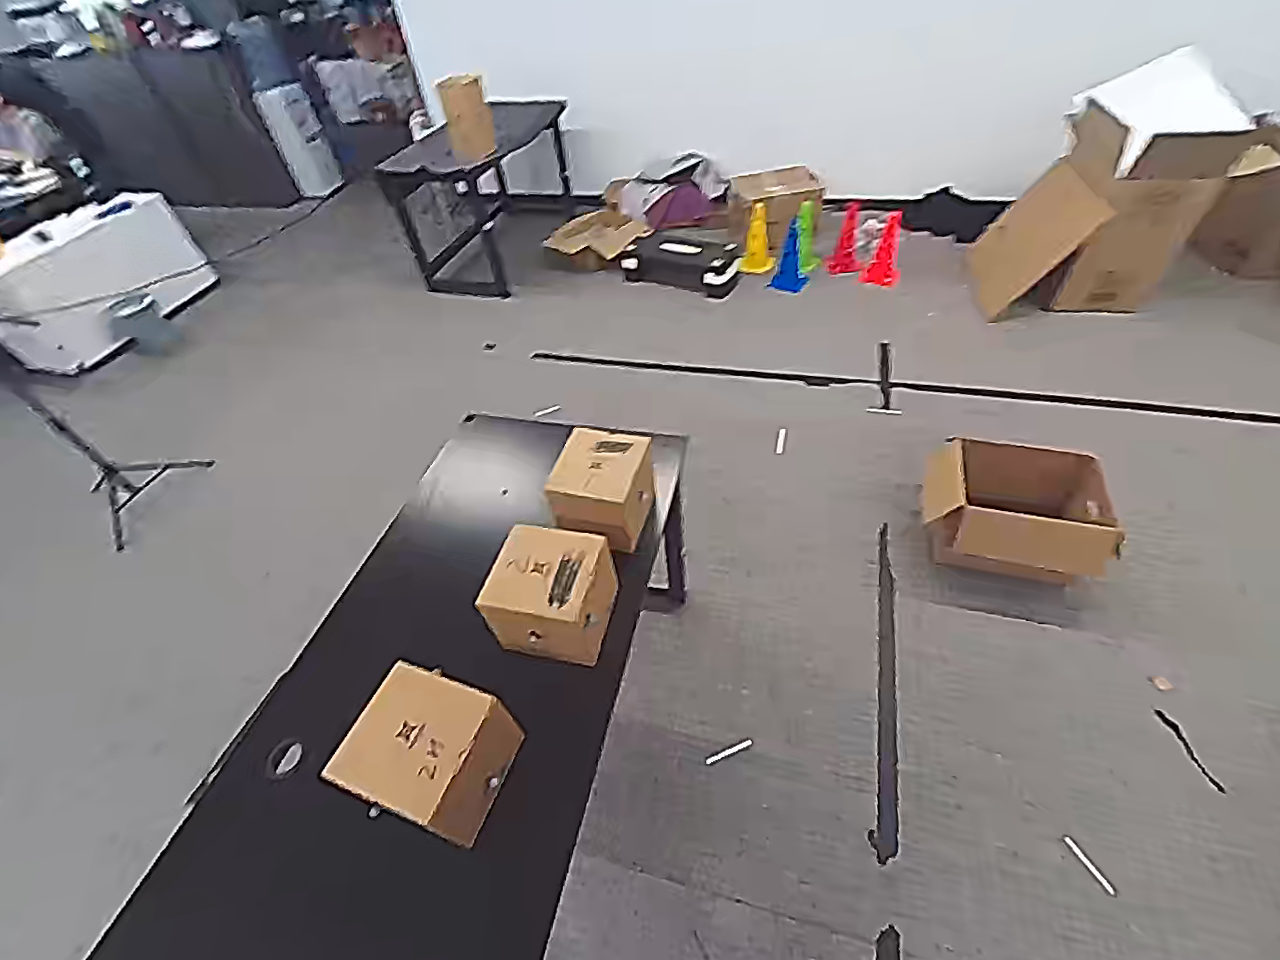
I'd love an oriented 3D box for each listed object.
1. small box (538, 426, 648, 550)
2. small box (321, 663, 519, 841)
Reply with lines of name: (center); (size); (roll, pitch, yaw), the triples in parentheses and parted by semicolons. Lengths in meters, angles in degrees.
small box: (-0.085, 0.016, 1.107); (0.168, 0.176, 0.179); (8, 51, 15)
small box: (-0.306, 0.399, 0.791); (0.179, 0.176, 0.168); (12, 51, 17)
